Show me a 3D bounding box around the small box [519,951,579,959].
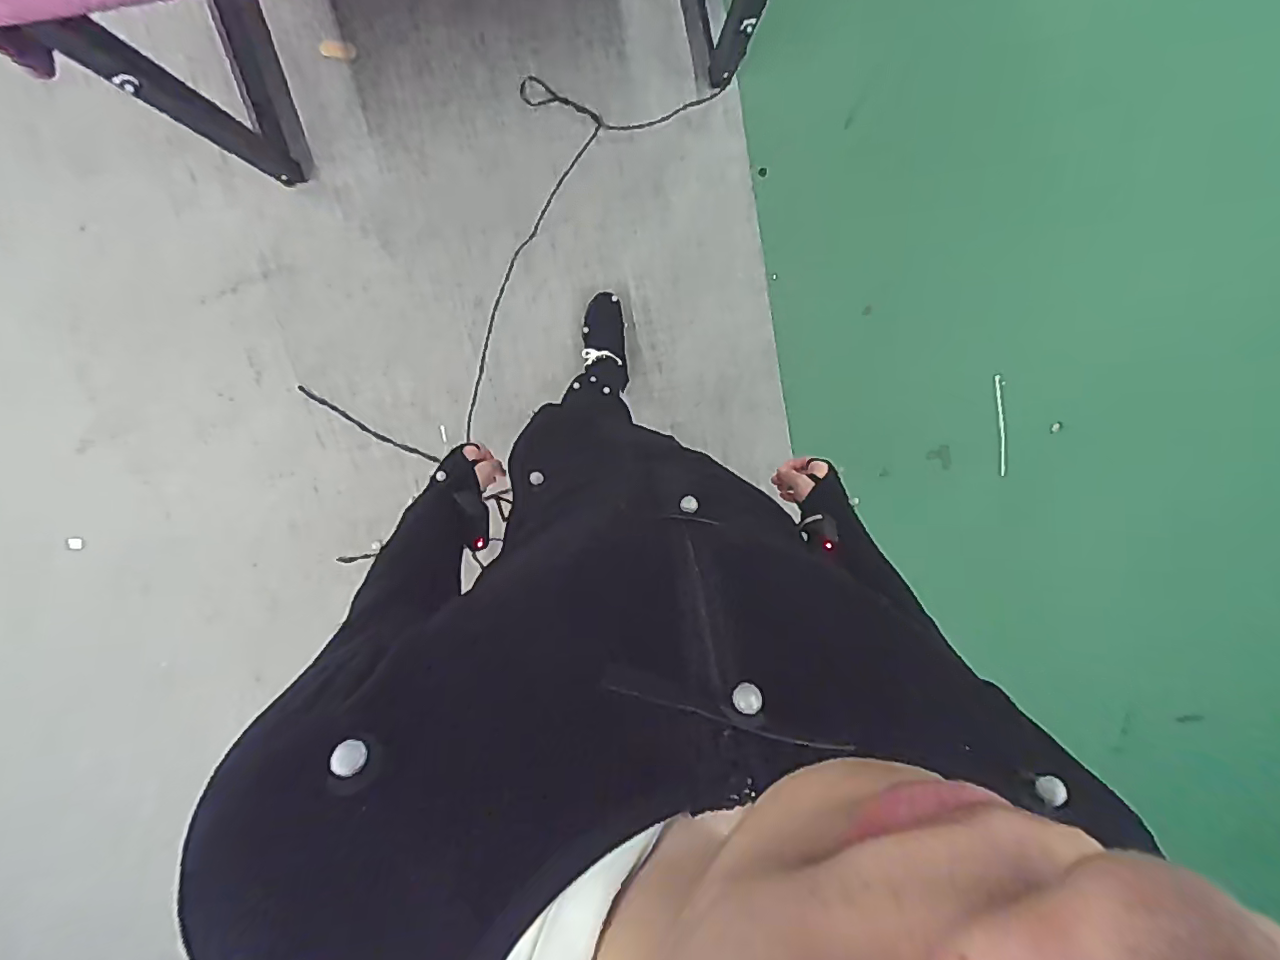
[{"bbox_3d":[-0.227,1.326,1.337,0.168,0.176,0.179,-7,100,-3],"label":"small box"}]
